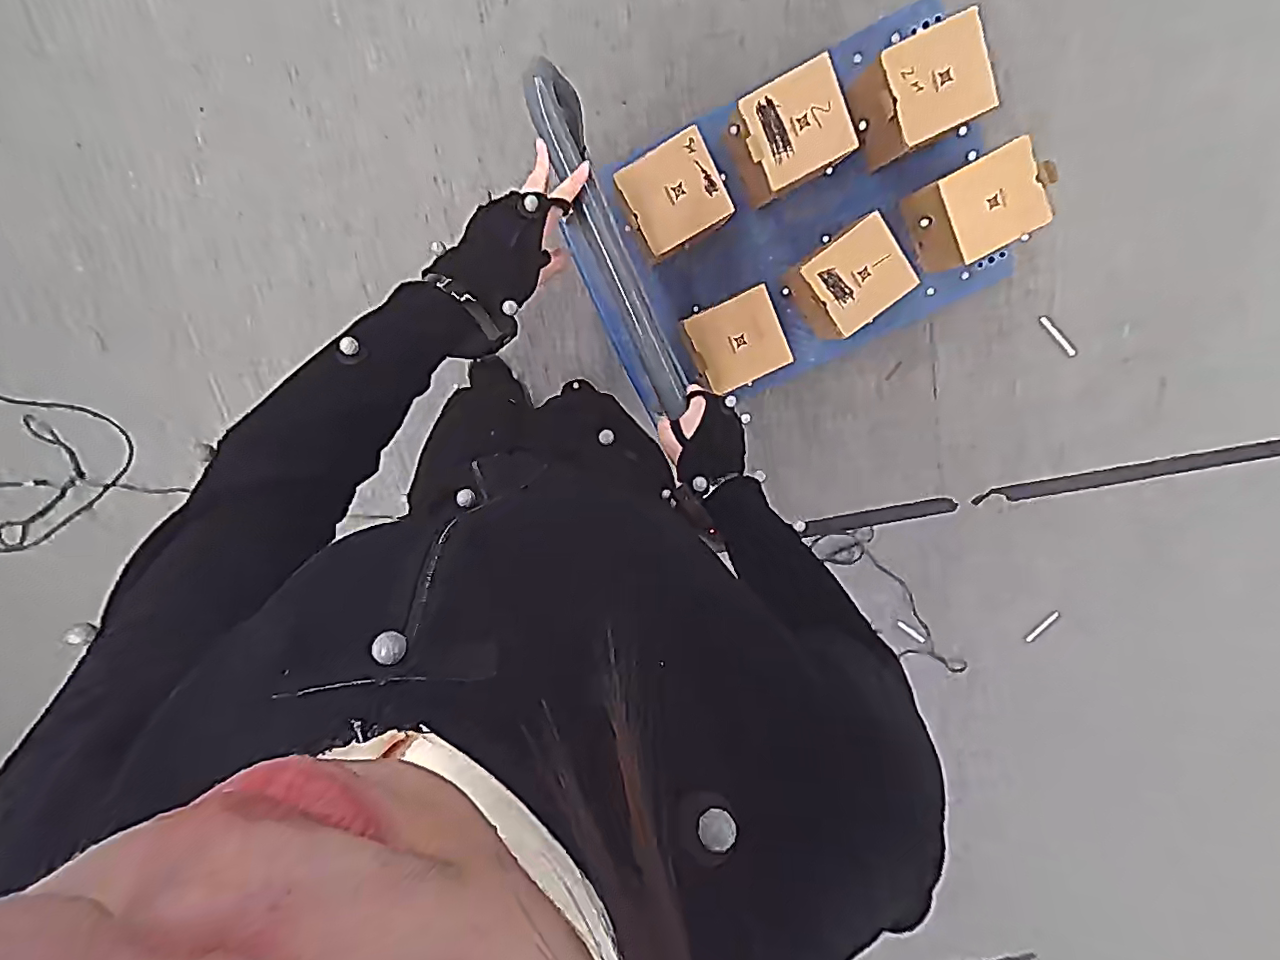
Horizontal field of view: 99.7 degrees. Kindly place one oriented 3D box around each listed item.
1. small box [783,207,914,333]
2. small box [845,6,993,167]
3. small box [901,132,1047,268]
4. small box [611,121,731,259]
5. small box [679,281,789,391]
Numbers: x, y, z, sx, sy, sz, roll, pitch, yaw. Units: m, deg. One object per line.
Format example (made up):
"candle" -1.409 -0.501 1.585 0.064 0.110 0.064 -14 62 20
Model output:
"small box" 0.418 -0.423 1.122 0.179 0.176 0.168 -37 103 8
"small box" 0.525 -0.736 1.035 0.179 0.176 0.168 -23 104 6
"small box" 0.657 -0.550 1.091 0.179 0.176 0.168 -27 104 6
"small box" 0.059 -0.561 1.076 0.179 0.176 0.168 -28 105 7
"small box" 0.190 -0.304 1.152 0.179 0.176 0.168 -24 105 5
